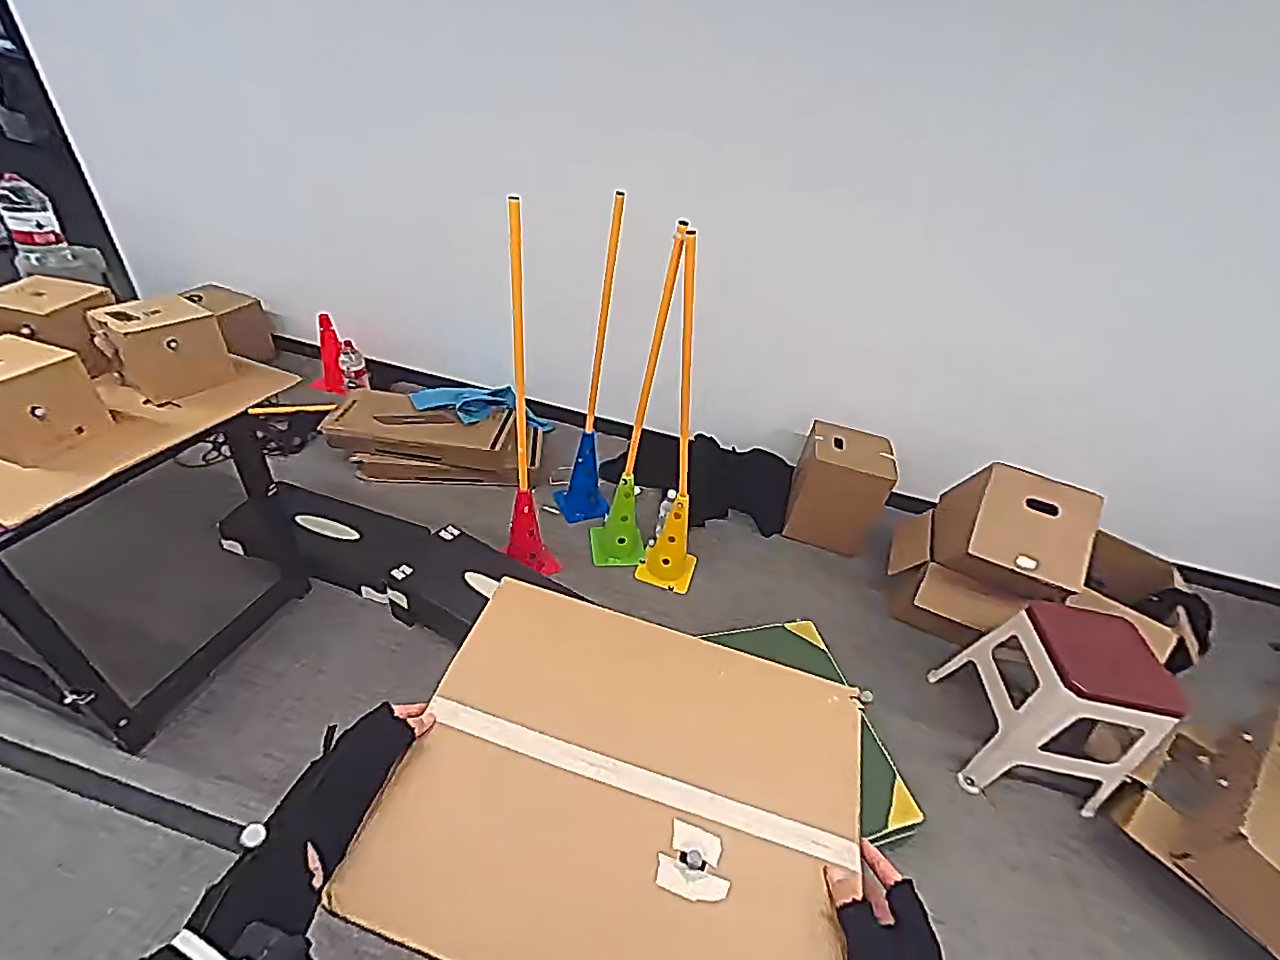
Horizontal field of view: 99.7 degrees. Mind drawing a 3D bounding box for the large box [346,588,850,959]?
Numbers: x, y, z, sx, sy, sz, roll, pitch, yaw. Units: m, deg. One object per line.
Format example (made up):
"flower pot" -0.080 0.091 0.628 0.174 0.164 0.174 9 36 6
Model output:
"large box" -0.021 0.380 0.608 0.408 0.320 0.320 16 46 7
